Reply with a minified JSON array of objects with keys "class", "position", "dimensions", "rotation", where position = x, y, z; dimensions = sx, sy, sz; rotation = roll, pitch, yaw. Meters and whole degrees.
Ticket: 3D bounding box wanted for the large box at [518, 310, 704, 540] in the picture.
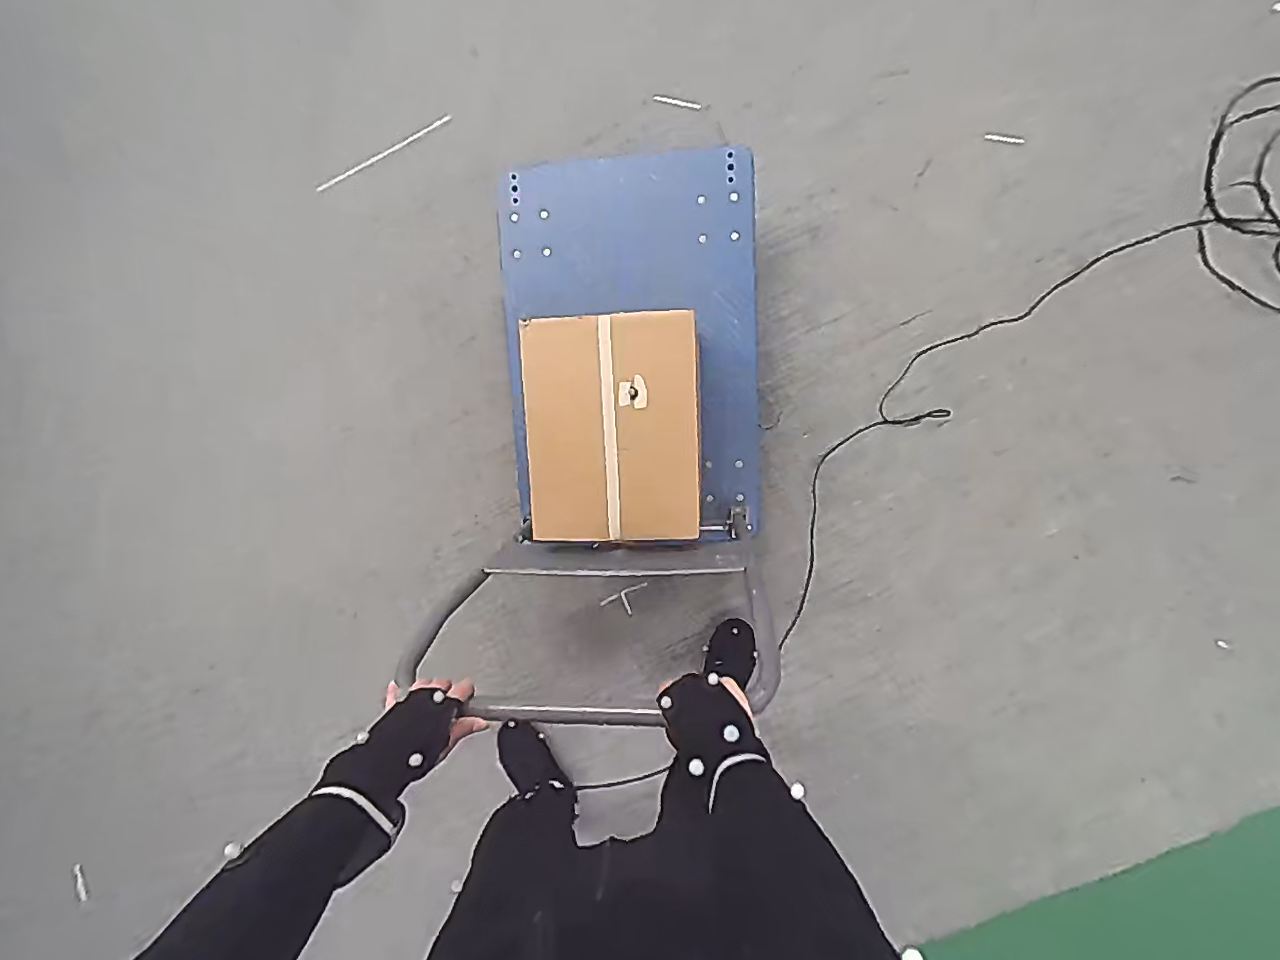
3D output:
[{"class":"large box","position":[-0.035,-0.107,1.119],"dimensions":[0.320,0.320,0.408],"rotation":[-3,97,7]}]
